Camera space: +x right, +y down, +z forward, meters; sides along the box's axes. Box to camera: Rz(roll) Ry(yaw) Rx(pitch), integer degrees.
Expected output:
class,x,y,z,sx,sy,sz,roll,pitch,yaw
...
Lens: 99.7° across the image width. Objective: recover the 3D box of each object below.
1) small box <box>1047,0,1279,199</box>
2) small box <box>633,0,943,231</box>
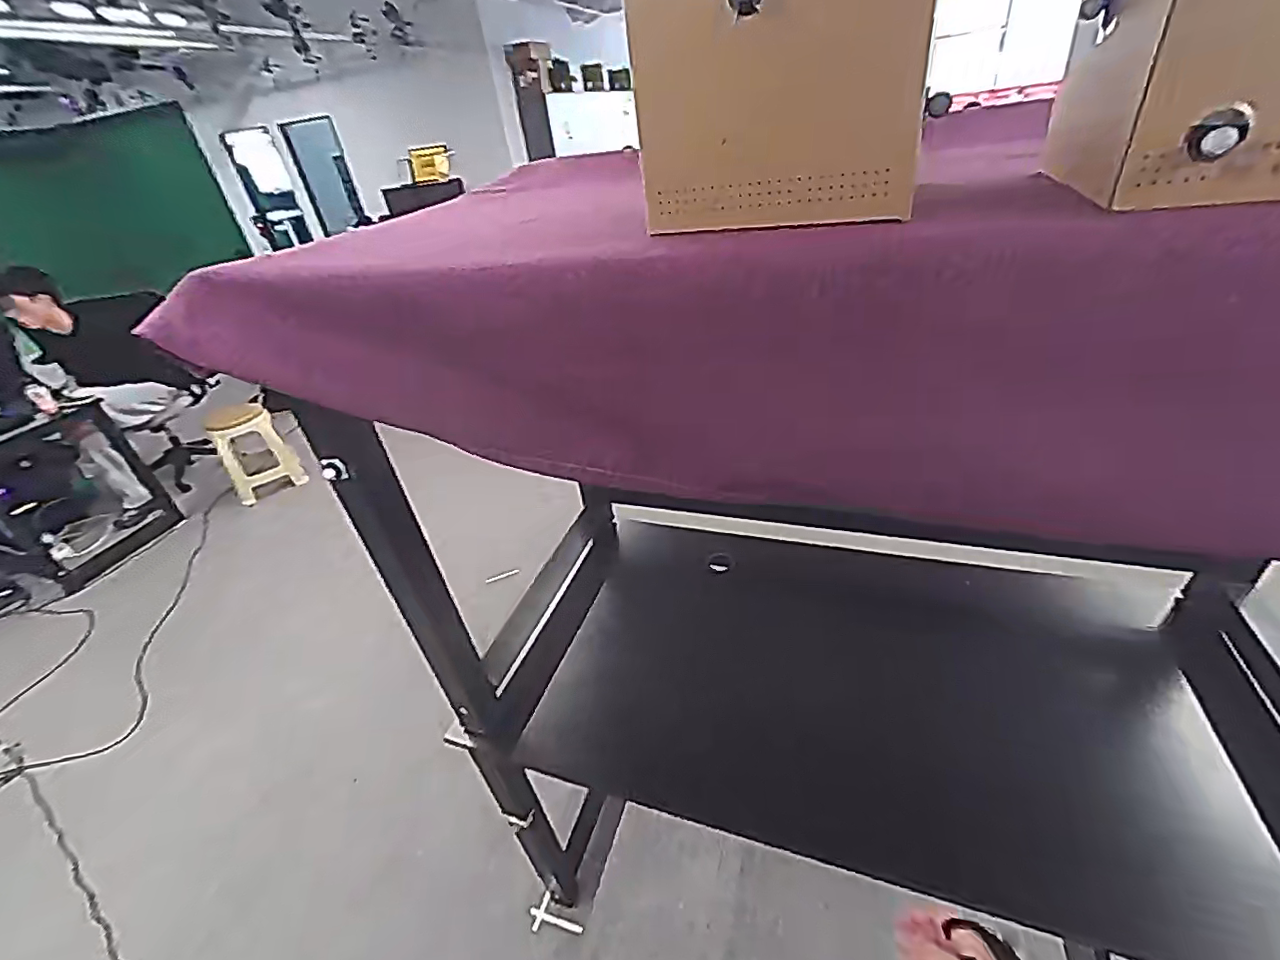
class,x,y,z,sx,sy,sz,roll,pitch,yaw
small box,0.342,-0.248,0.274,0.168,0.176,0.179,6,35,20
small box,0.104,-0.278,0.371,0.179,0.176,0.168,8,37,23
